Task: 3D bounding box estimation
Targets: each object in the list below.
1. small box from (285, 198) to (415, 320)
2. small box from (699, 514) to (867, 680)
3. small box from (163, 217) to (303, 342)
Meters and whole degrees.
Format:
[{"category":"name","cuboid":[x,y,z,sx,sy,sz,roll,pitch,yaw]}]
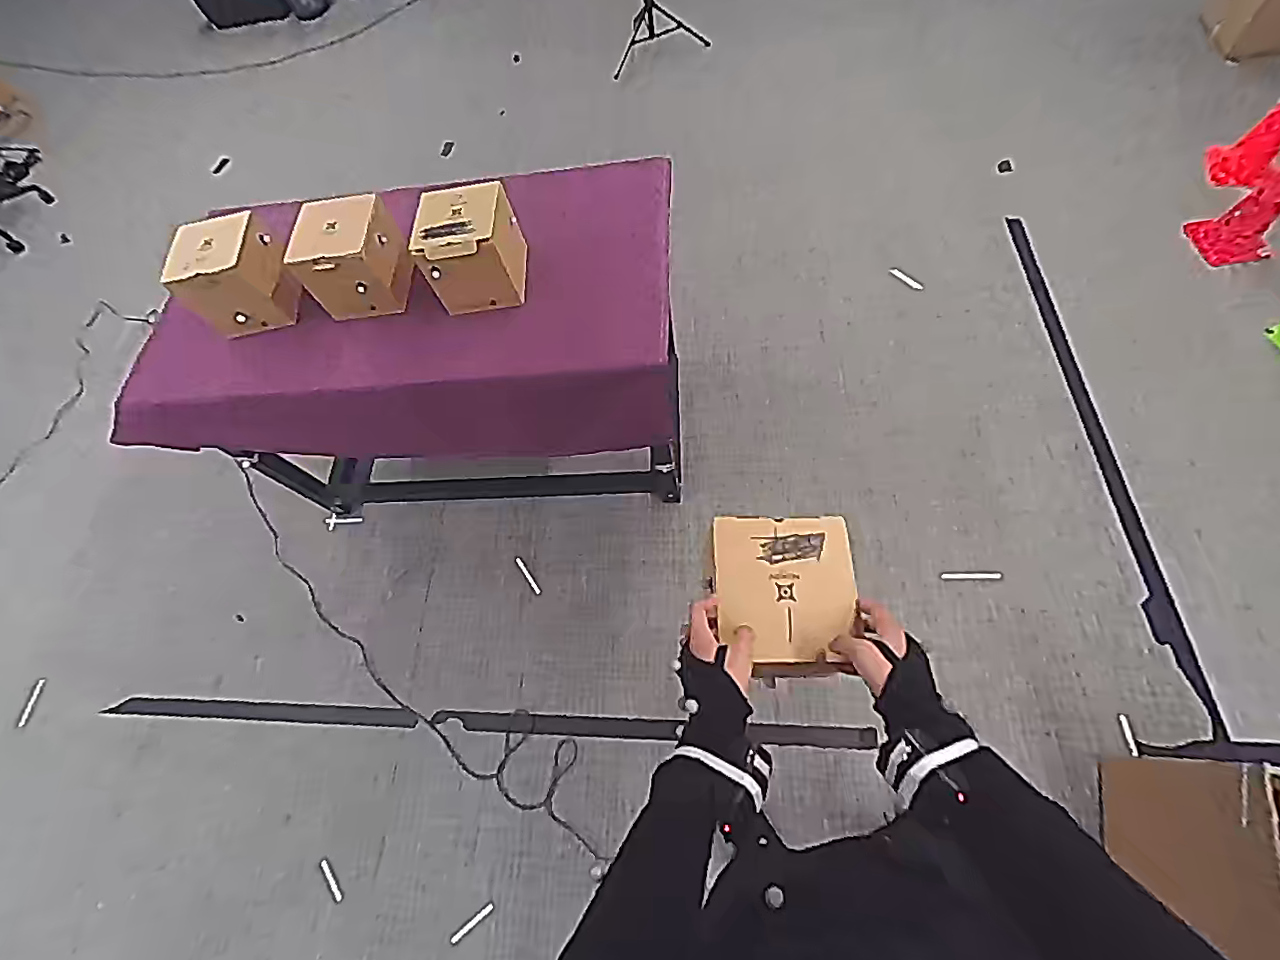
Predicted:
[{"category":"small box","cuboid":[-0.605,-0.460,1.153,0.168,0.176,0.179,-5,64,6]},{"category":"small box","cuboid":[0.167,0.156,0.696,0.168,0.176,0.179,-1,64,1]},{"category":"small box","cuboid":[-0.872,-0.432,1.180,0.168,0.176,0.179,-11,64,4]}]
